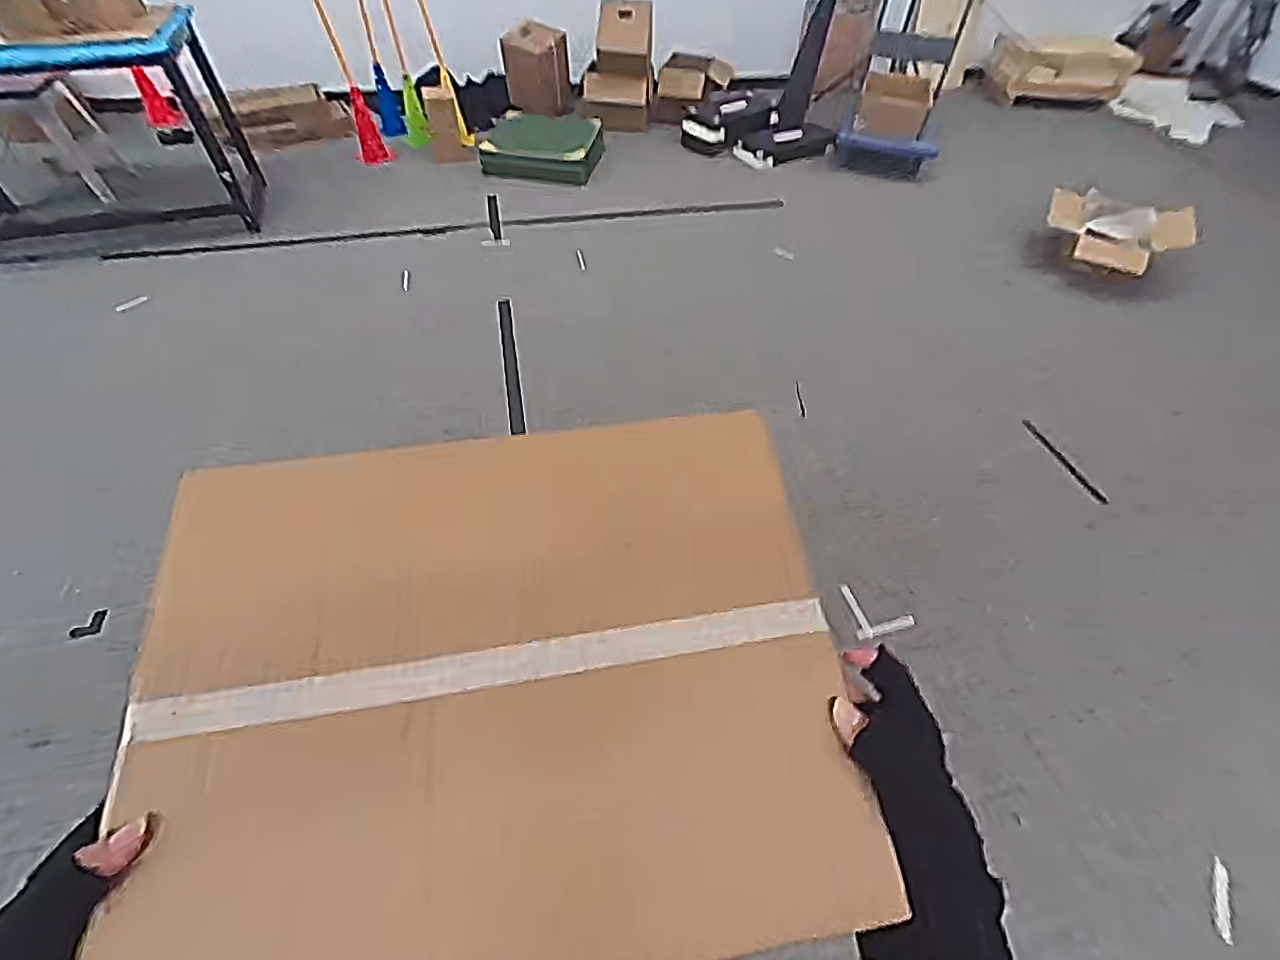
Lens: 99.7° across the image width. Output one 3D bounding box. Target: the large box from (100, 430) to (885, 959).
[{"bbox_3d":[-0.091,0.187,0.462,0.408,0.320,0.320,-7,64,-6],"label":"large box"}]
